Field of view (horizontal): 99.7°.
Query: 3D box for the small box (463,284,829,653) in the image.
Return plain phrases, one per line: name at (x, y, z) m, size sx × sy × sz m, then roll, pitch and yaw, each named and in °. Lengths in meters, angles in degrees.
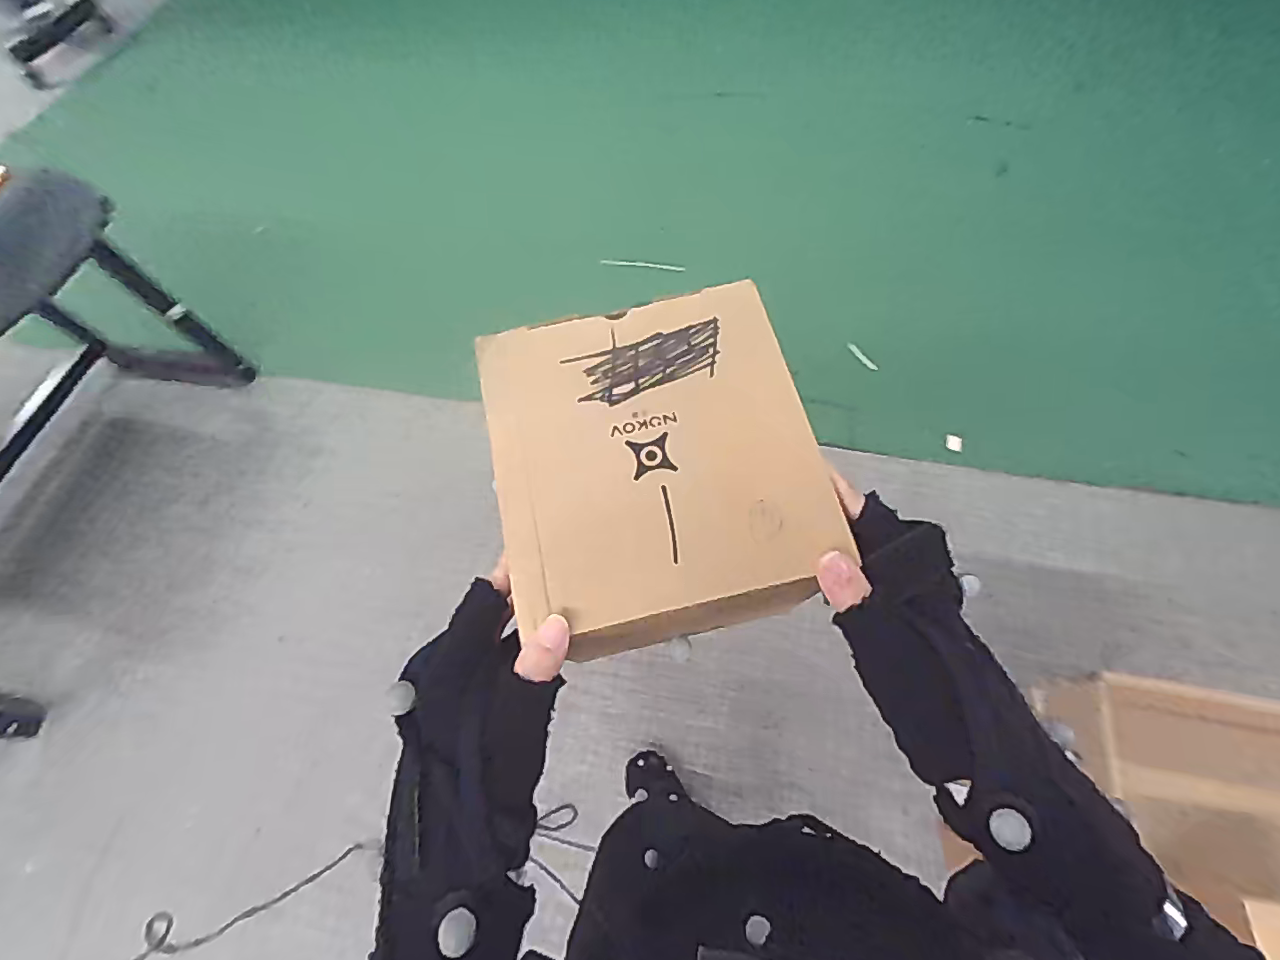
small box at (-0.003, 0.007, 0.362) m, size 0.168 × 0.176 × 0.179 m, roll -14°, pitch 70°, yaw -2°
